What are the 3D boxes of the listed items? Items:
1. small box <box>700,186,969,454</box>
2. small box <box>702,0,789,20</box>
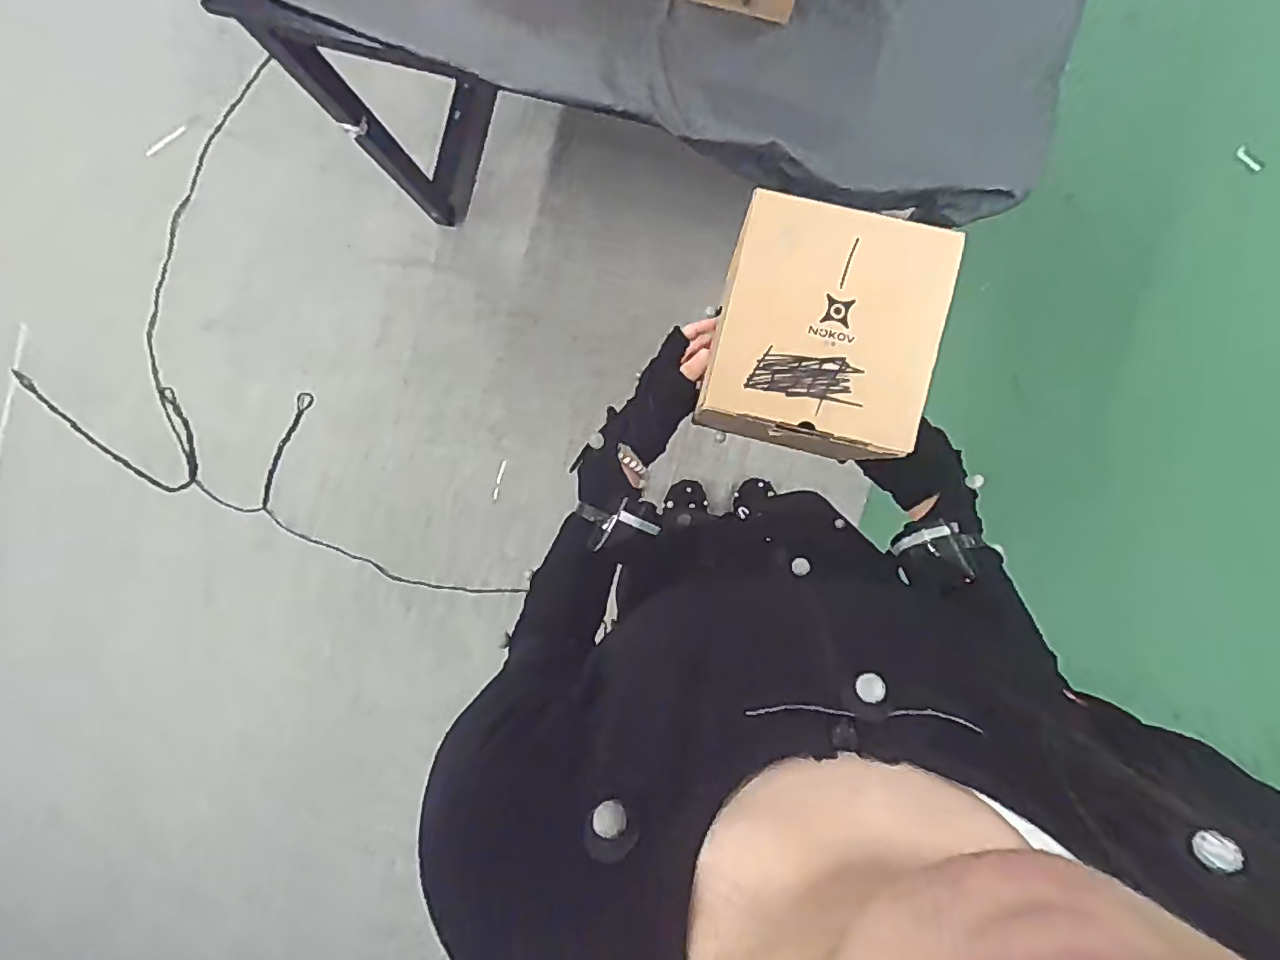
[{"bbox_3d":[0.155,-0.125,0.495,0.168,0.176,0.179,14,91,1],"label":"small box"},{"bbox_3d":[0.140,-0.737,0.667,0.168,0.176,0.179,17,92,3],"label":"small box"}]
